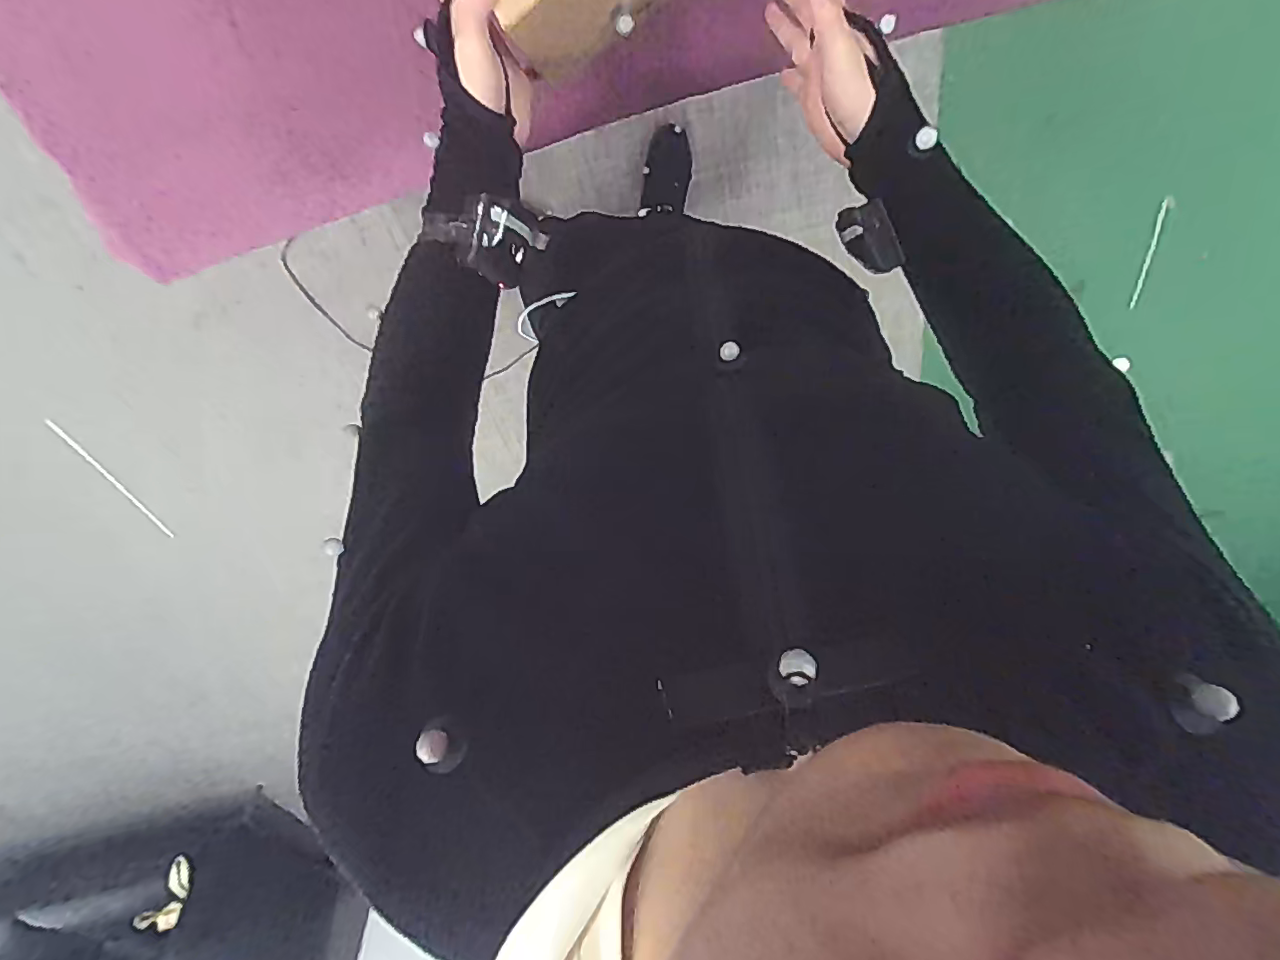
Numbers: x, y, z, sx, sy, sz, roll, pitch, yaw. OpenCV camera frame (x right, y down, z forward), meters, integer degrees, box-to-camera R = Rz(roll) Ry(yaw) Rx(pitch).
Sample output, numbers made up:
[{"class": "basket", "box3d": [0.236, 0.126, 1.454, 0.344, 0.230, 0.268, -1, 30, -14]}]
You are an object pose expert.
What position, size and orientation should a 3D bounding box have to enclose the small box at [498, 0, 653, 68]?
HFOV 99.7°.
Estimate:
[{"class": "small box", "box3d": [-0.064, -0.455, 0.393, 0.168, 0.176, 0.179, -28, 111, 14]}]
